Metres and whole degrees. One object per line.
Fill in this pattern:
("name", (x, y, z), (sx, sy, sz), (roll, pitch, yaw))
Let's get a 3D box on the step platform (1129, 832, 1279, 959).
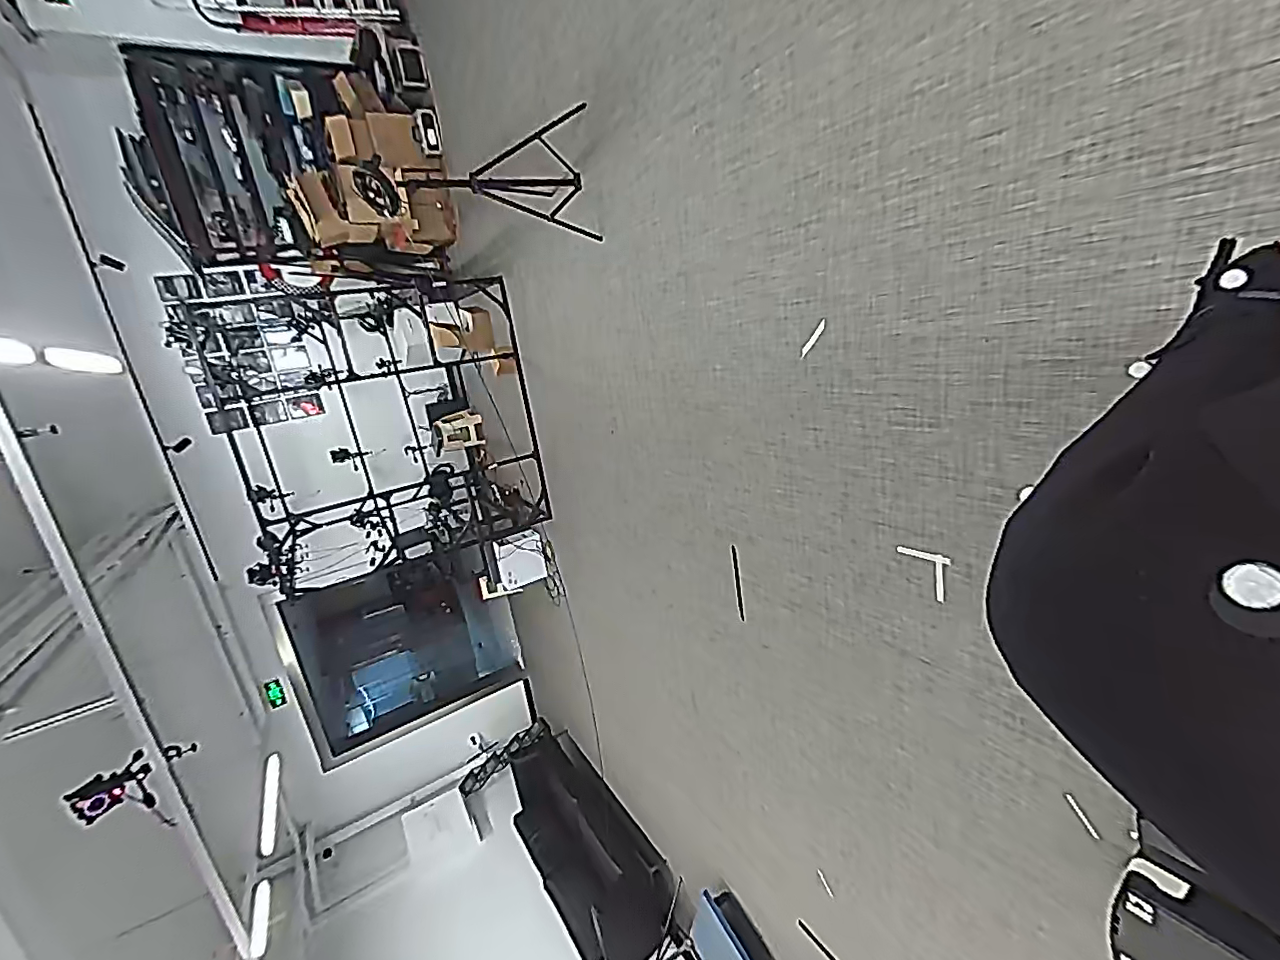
("step platform", (1.409, 1.058, 1.049), (0.684, 0.204, 0.286), (16, 119, 59))
